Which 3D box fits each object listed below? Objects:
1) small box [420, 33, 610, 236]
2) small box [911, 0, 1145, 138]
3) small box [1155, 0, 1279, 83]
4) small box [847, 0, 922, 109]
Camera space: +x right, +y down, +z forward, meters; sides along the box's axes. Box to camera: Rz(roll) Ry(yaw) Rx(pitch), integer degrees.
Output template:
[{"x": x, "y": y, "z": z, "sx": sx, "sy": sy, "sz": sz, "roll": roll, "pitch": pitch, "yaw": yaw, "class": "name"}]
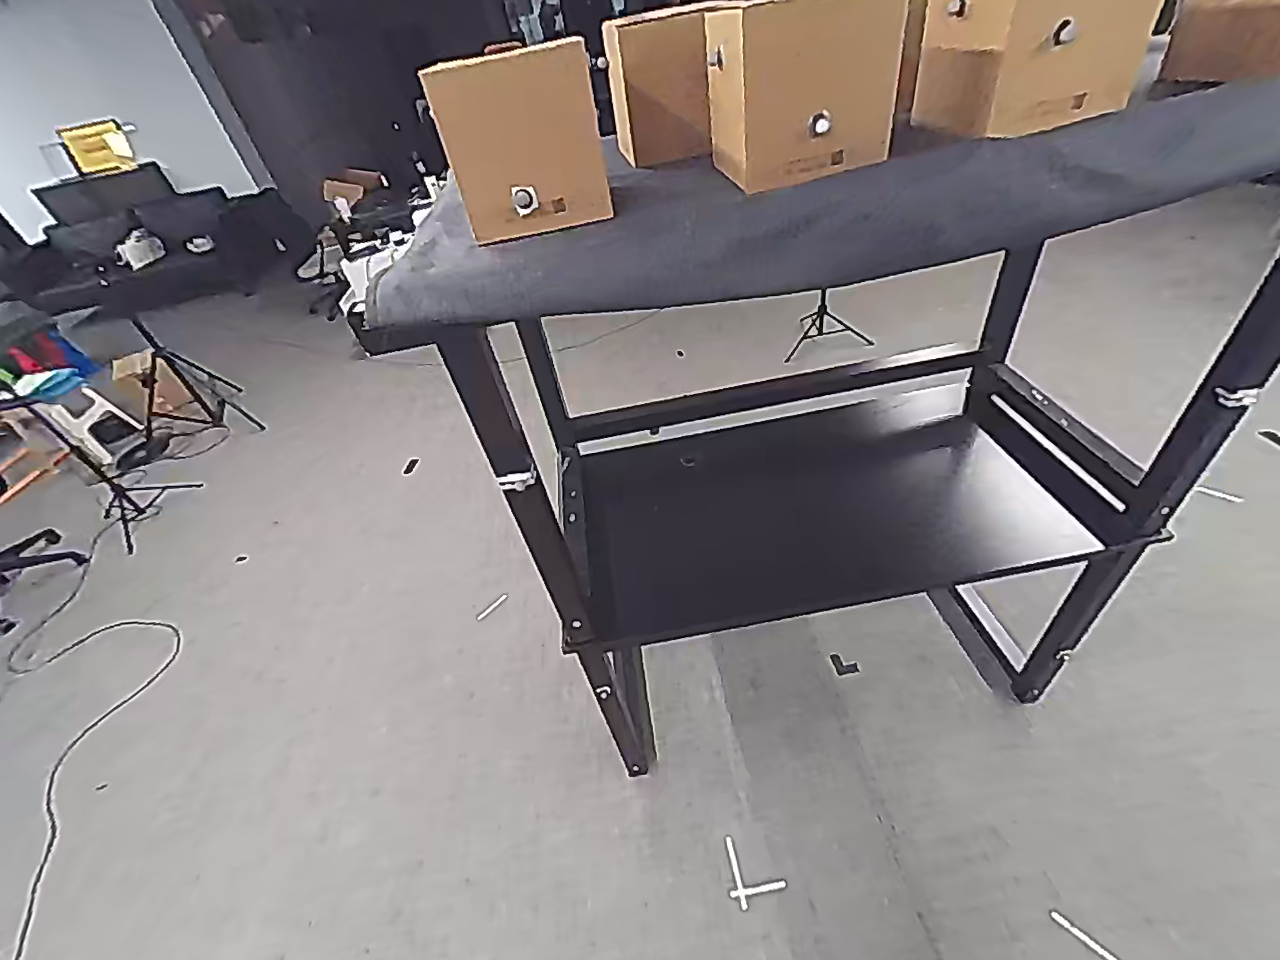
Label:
[{"x": -0.138, "y": -0.407, "z": 0.644, "sx": 0.168, "sy": 0.176, "sz": 0.179, "roll": -13, "pitch": 39, "yaw": -2, "class": "small box"}, {"x": 0.449, "y": -0.520, "z": 0.639, "sx": 0.168, "sy": 0.176, "sz": 0.179, "roll": -11, "pitch": 39, "yaw": 1, "class": "small box"}, {"x": 0.761, "y": -0.568, "z": 0.612, "sx": 0.168, "sy": 0.176, "sz": 0.179, "roll": -10, "pitch": 37, "yaw": 3, "class": "small box"}, {"x": 0.434, "y": -0.687, "z": 0.831, "sx": 0.168, "sy": 0.176, "sz": 0.179, "roll": -12, "pitch": 40, "yaw": 0, "class": "small box"}]
